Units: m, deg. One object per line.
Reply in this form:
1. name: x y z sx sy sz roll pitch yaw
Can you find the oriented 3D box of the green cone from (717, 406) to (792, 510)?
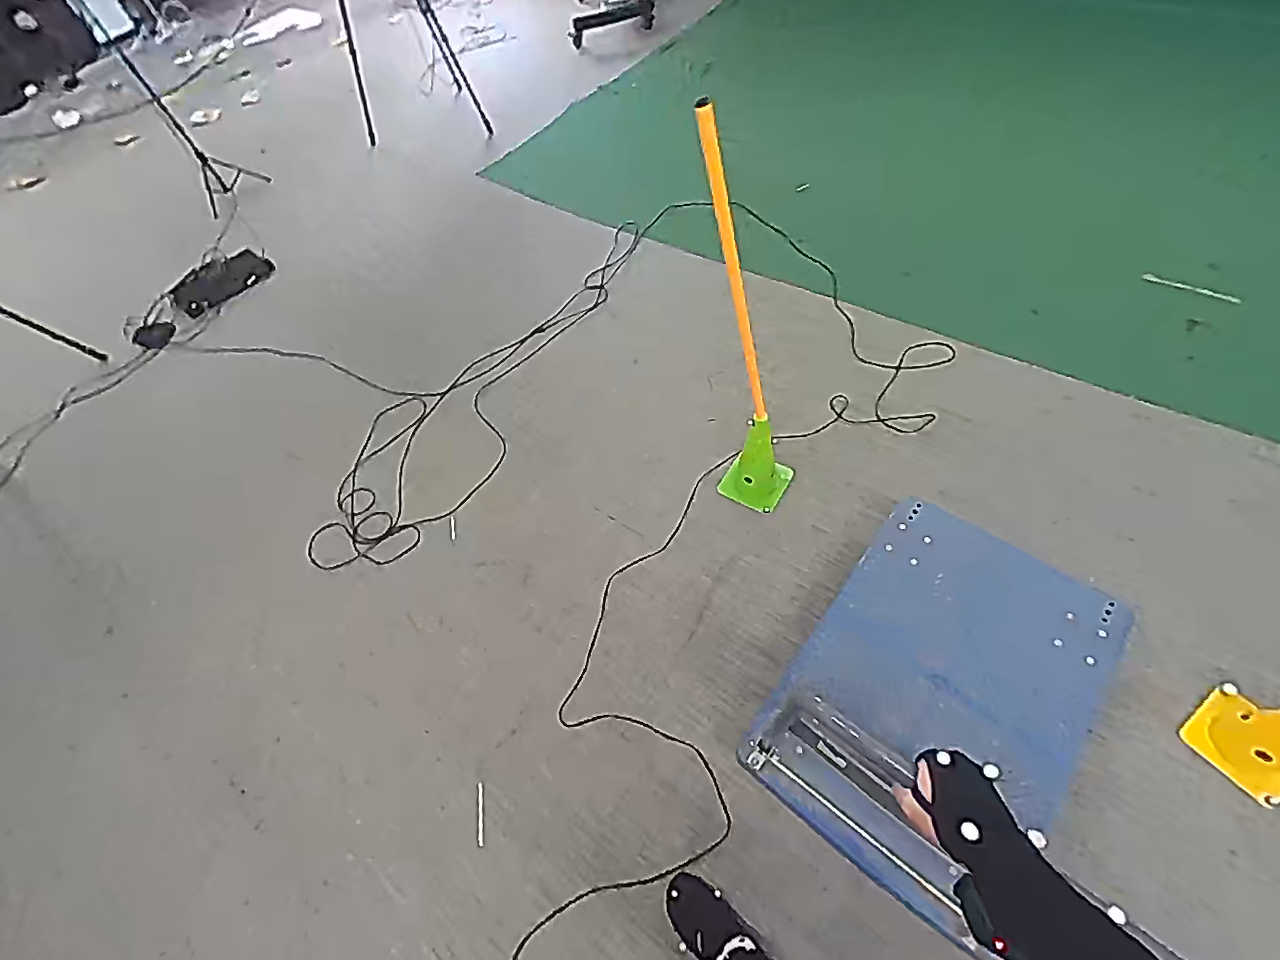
1. green cone: 0.359 -0.100 1.682 0.202 0.368 0.200 25 64 24
